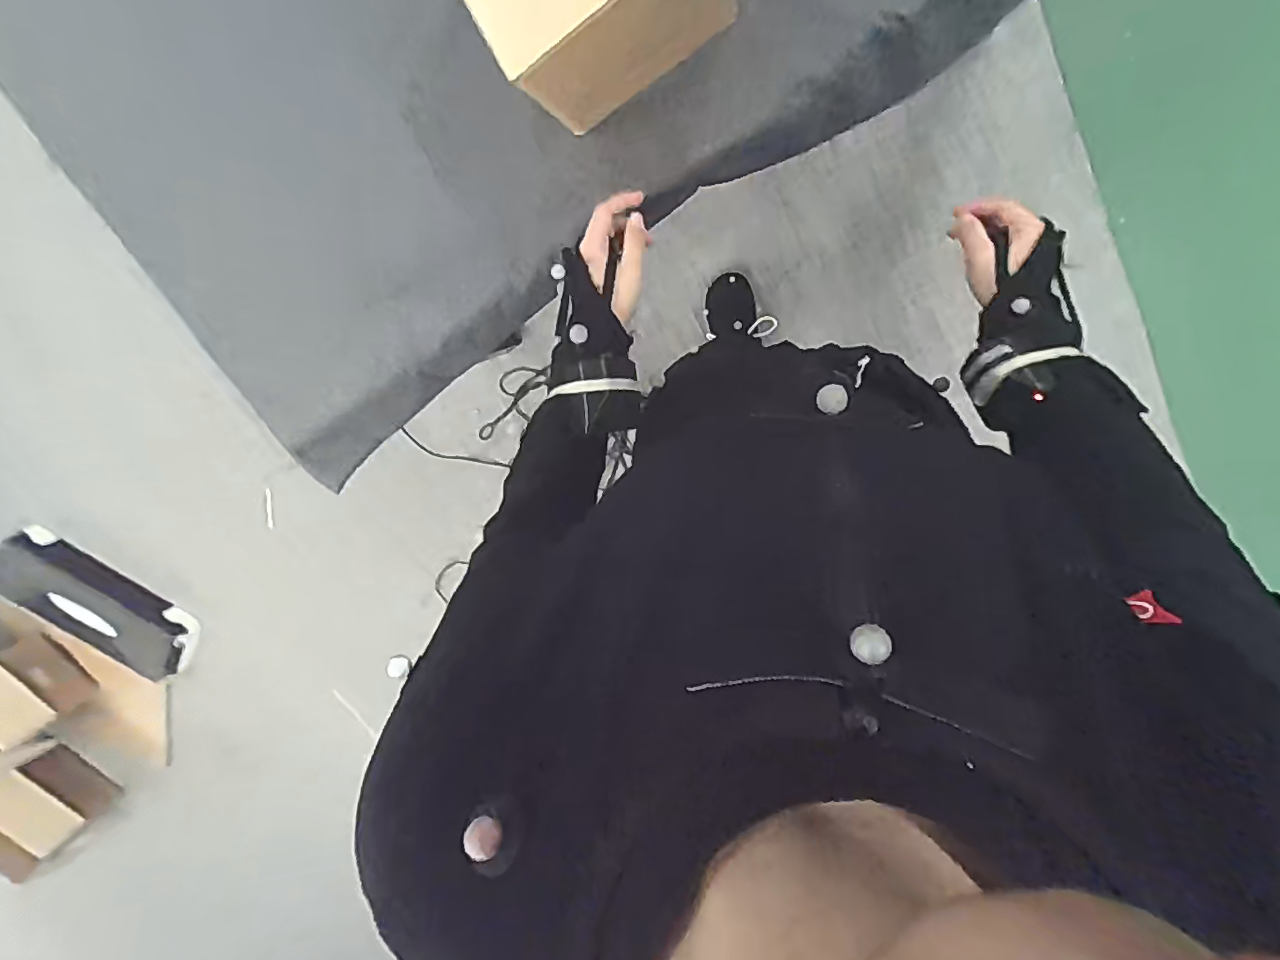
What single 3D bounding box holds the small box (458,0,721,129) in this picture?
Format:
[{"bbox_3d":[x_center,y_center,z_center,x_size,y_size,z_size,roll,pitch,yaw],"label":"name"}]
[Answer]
[{"bbox_3d":[-0.048,-0.409,0.408,0.179,0.176,0.168,-27,104,18],"label":"small box"}]
